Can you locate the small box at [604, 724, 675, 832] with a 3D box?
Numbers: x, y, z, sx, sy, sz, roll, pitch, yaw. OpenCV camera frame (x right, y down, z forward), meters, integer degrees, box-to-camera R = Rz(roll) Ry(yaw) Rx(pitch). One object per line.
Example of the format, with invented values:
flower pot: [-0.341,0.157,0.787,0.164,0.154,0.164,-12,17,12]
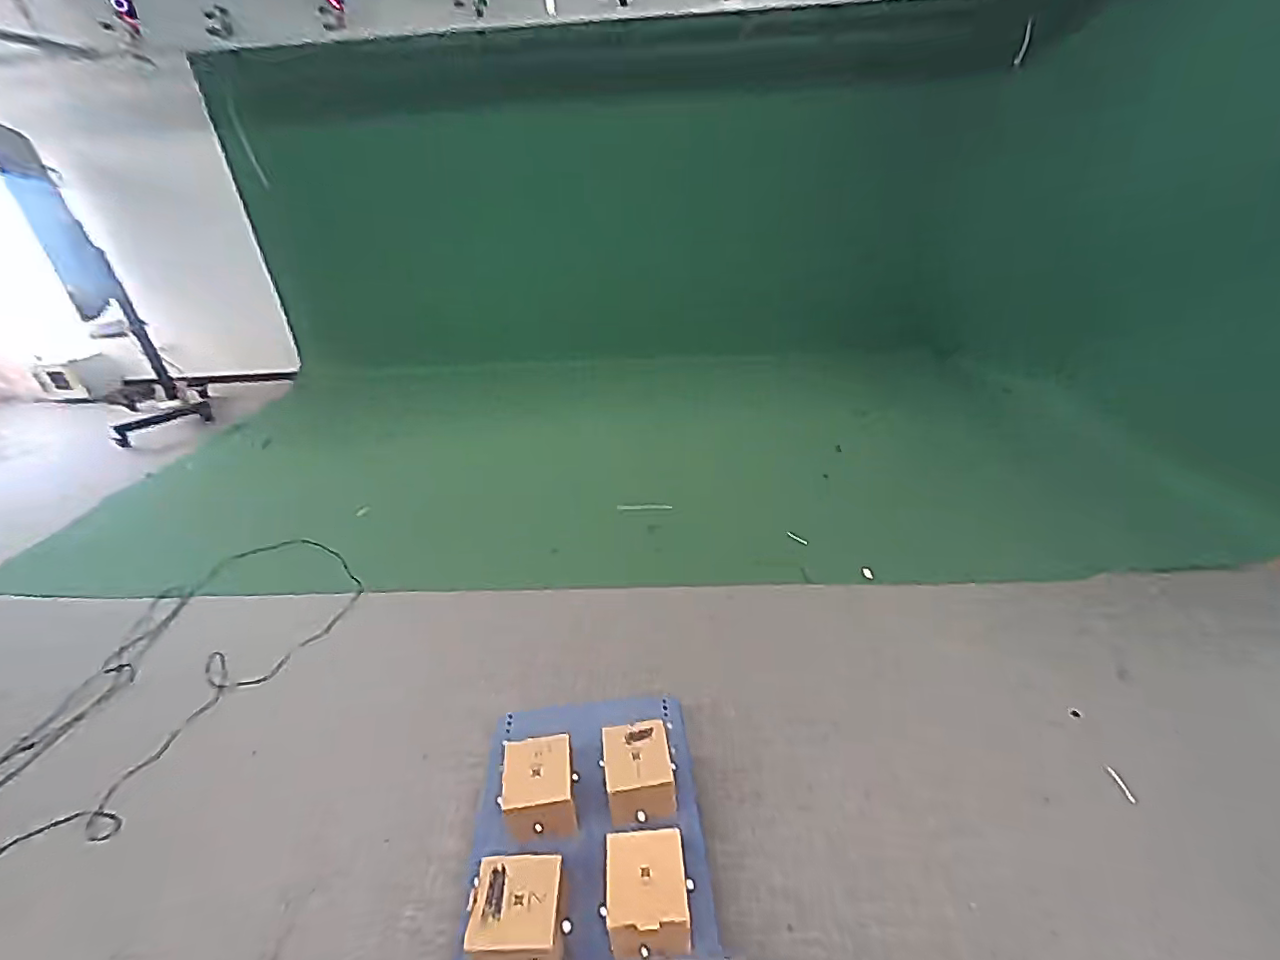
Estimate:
small box: [-0.004,0.772,1.404,0.168,0.176,0.179,-7,32,-5]

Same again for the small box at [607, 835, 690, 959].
small box: [0.015,0.910,1.172,0.168,0.176,0.179,-4,31,-1]

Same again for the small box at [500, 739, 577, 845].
small box: [-0.253,0.800,1.380,0.168,0.176,0.179,-6,30,-5]
